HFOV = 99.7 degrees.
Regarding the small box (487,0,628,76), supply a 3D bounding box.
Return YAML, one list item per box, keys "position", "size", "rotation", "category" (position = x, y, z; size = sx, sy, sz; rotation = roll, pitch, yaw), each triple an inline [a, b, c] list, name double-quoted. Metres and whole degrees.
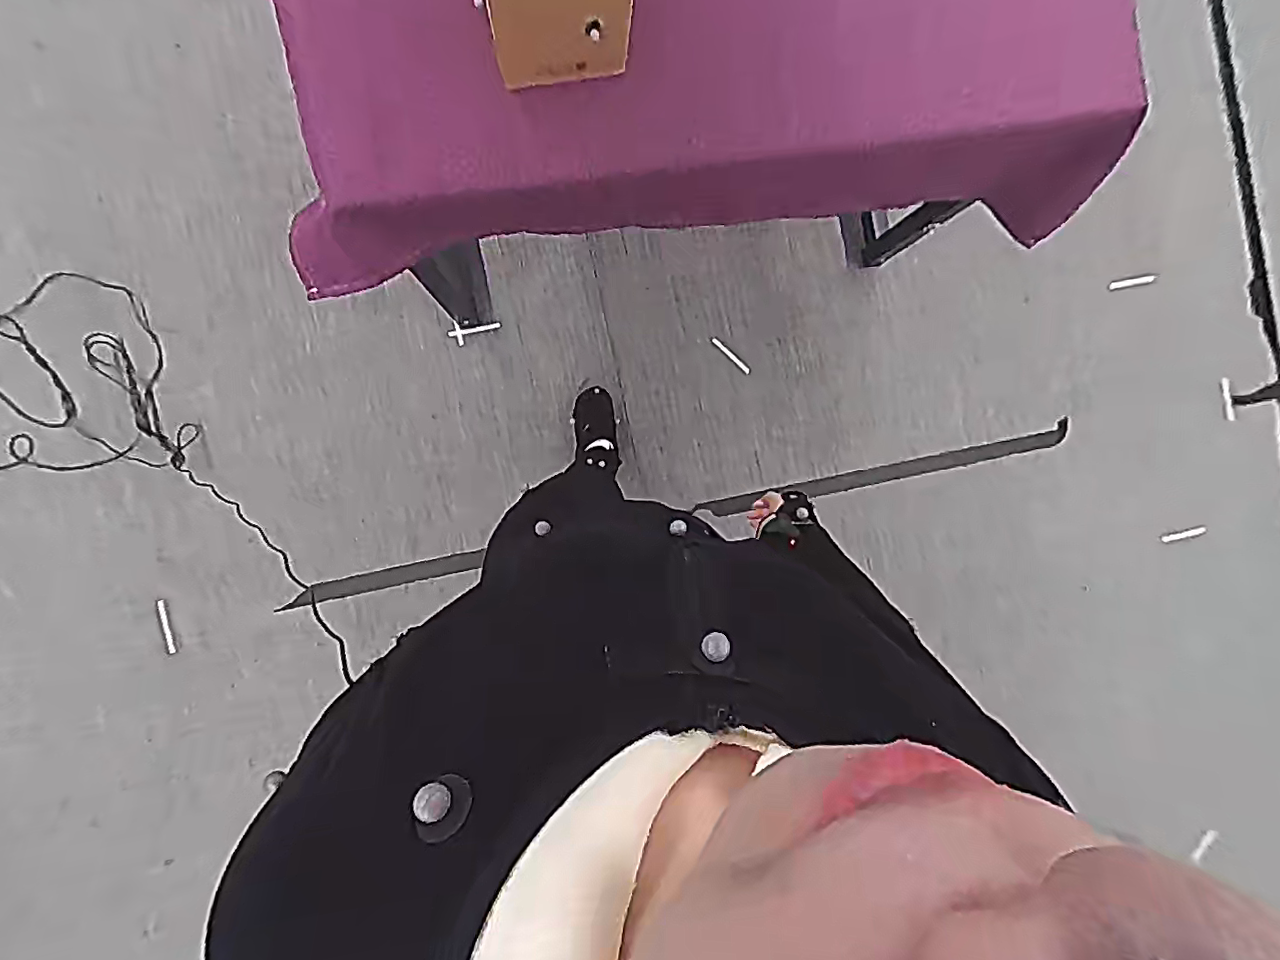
- position: [-0.108, -0.622, 0.644]
  size: [0.168, 0.176, 0.179]
  rotation: [-12, 93, -7]
  category: "small box"
